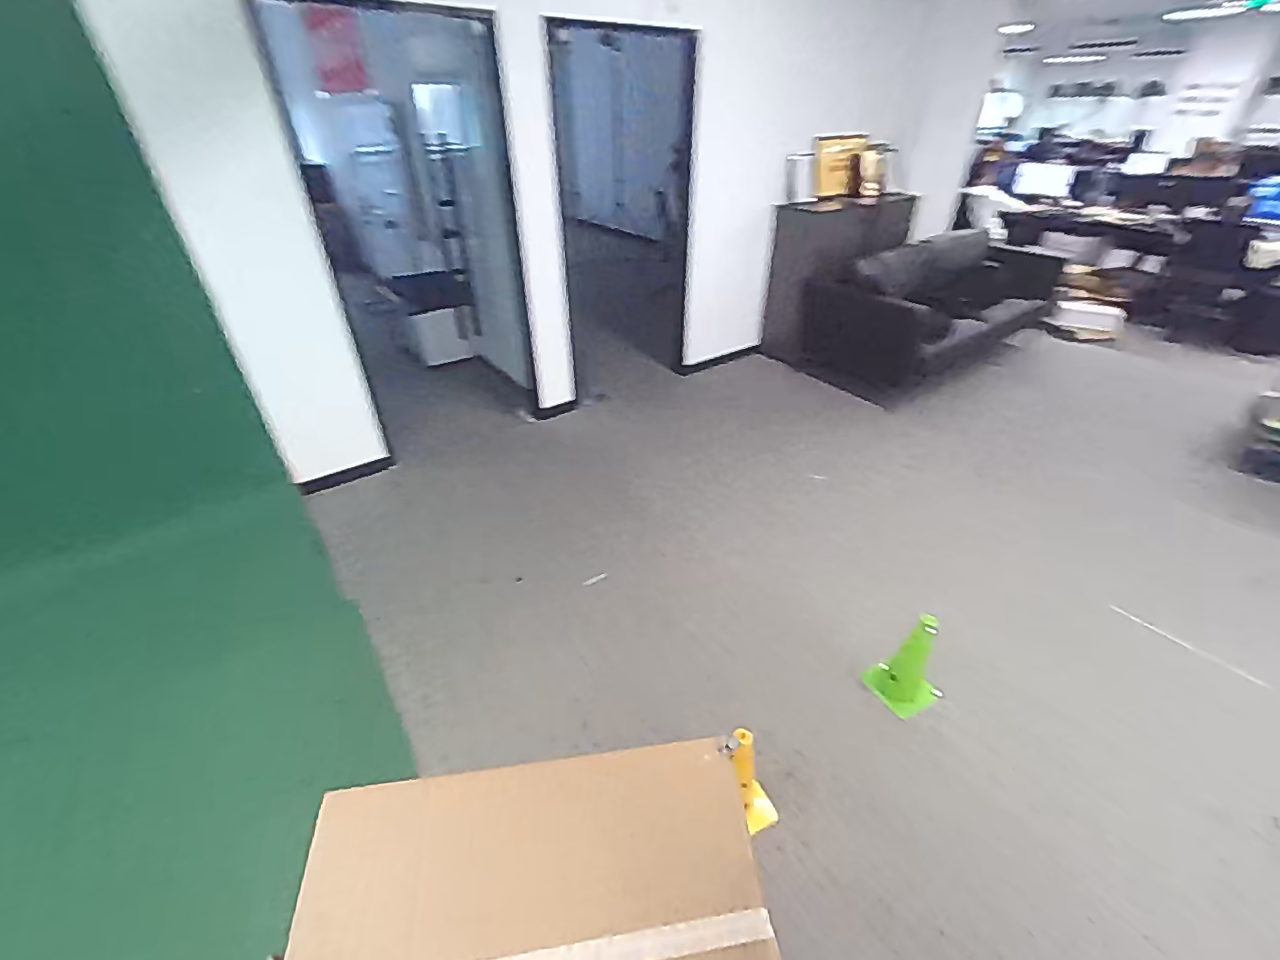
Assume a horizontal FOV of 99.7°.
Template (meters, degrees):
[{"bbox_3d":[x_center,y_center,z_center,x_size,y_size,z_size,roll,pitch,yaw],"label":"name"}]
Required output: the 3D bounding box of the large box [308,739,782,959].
[{"bbox_3d":[-0.085,0.508,0.564,0.408,0.320,0.320,-4,48,-6],"label":"large box"}]

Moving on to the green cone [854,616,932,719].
[{"bbox_3d":[0.891,0.586,1.815,0.202,0.368,0.200,-19,39,-24],"label":"green cone"}]
